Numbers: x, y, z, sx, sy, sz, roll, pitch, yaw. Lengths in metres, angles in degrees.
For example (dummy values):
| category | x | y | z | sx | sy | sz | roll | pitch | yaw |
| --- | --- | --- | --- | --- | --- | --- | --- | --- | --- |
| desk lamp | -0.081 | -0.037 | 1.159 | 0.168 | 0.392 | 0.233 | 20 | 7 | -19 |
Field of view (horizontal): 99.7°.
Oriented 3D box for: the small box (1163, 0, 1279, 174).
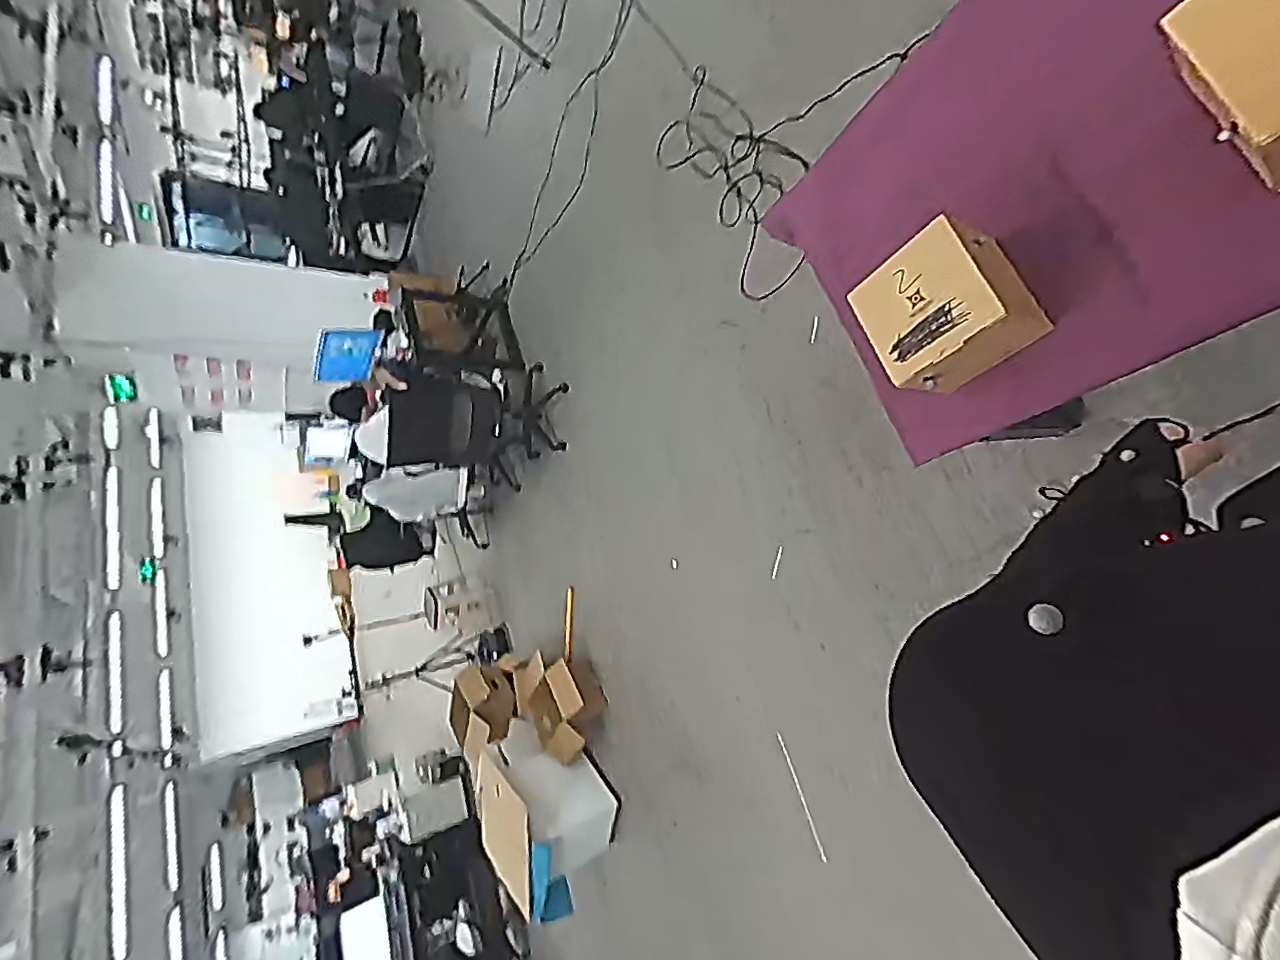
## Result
| category | x | y | z | sx | sy | sz | roll | pitch | yaw |
| --- | --- | --- | --- | --- | --- | --- | --- | --- | --- |
| small box | 0.666 | -0.436 | 0.522 | 0.168 | 0.176 | 0.179 | -37 | 65 | 48 |
